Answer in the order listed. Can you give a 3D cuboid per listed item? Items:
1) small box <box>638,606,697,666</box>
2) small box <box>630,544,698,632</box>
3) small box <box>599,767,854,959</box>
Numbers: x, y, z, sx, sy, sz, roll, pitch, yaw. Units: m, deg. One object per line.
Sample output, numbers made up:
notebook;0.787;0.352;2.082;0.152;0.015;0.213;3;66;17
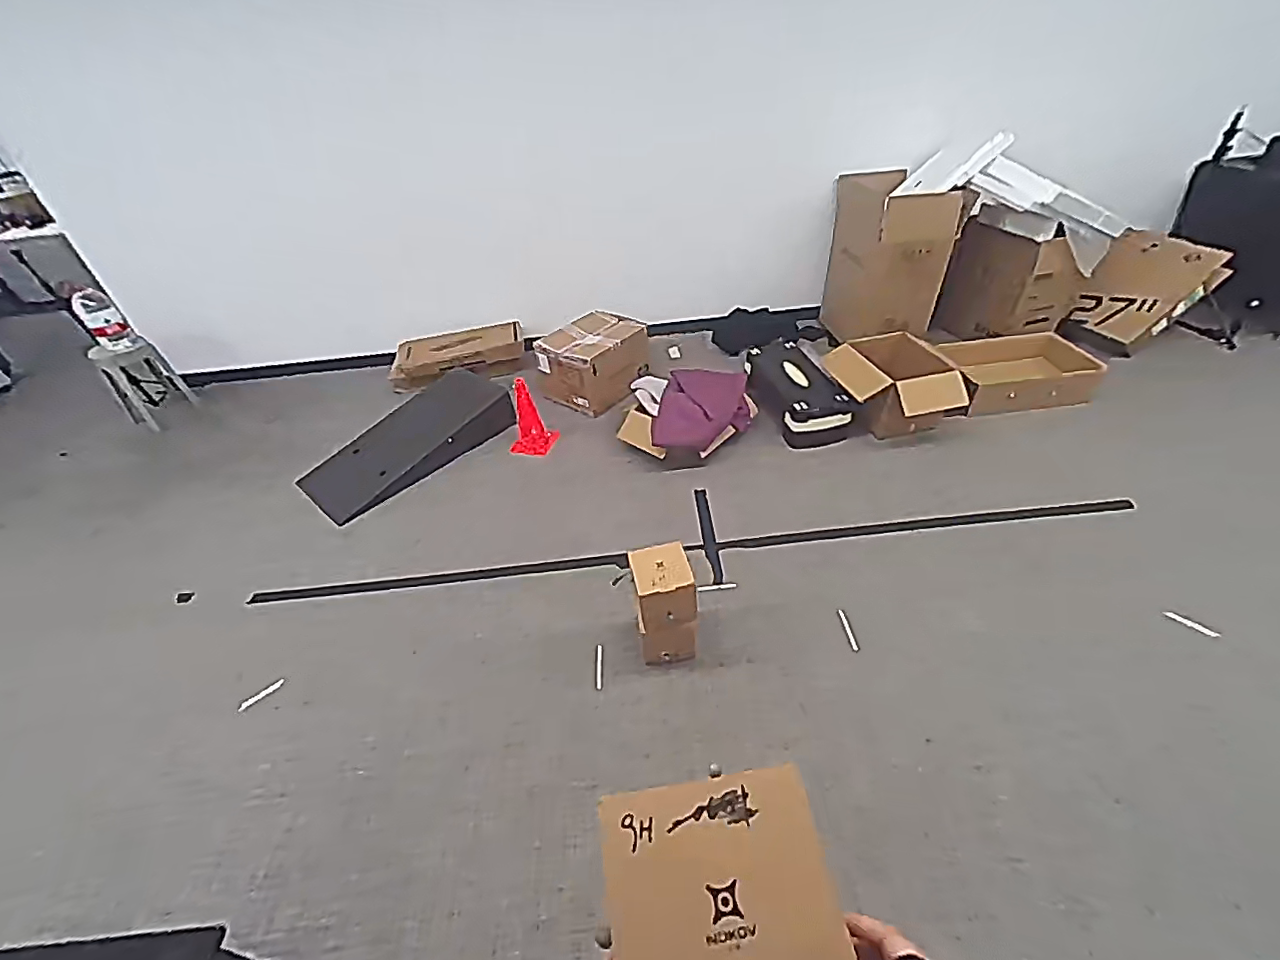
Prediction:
small box;0.084;0.458;1.707;0.168;0.176;0.179;-9;40;-1
small box;0.070;0.322;1.613;0.168;0.176;0.179;-12;39;-5
small box;0.061;0.357;0.443;0.168;0.176;0.179;-7;53;-6
